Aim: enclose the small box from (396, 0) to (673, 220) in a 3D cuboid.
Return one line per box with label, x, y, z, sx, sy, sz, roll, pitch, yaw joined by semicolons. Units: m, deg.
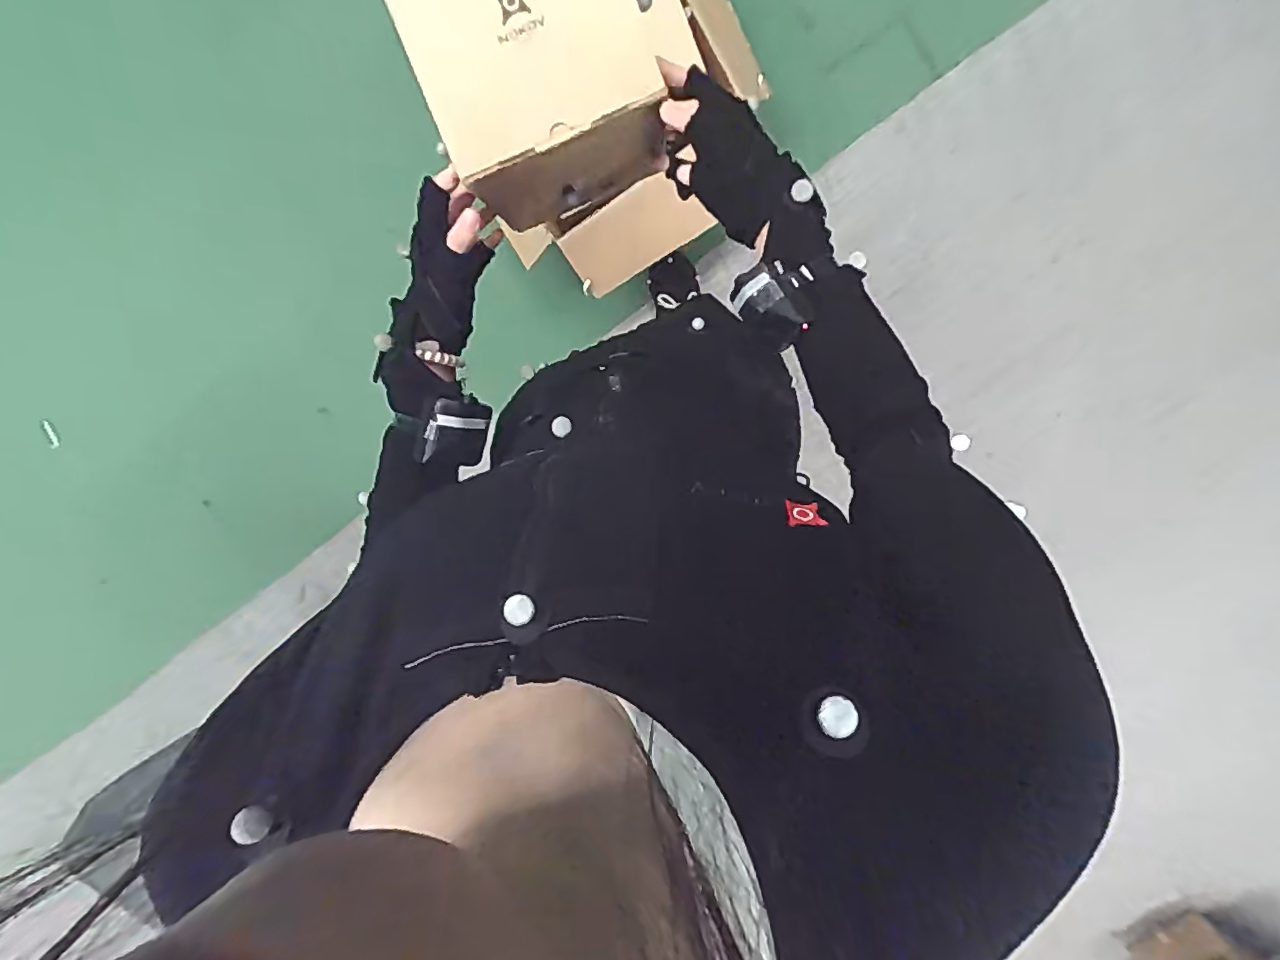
small box;-0.083;-0.349;0.452;0.168;0.176;0.179;-21;104;5
